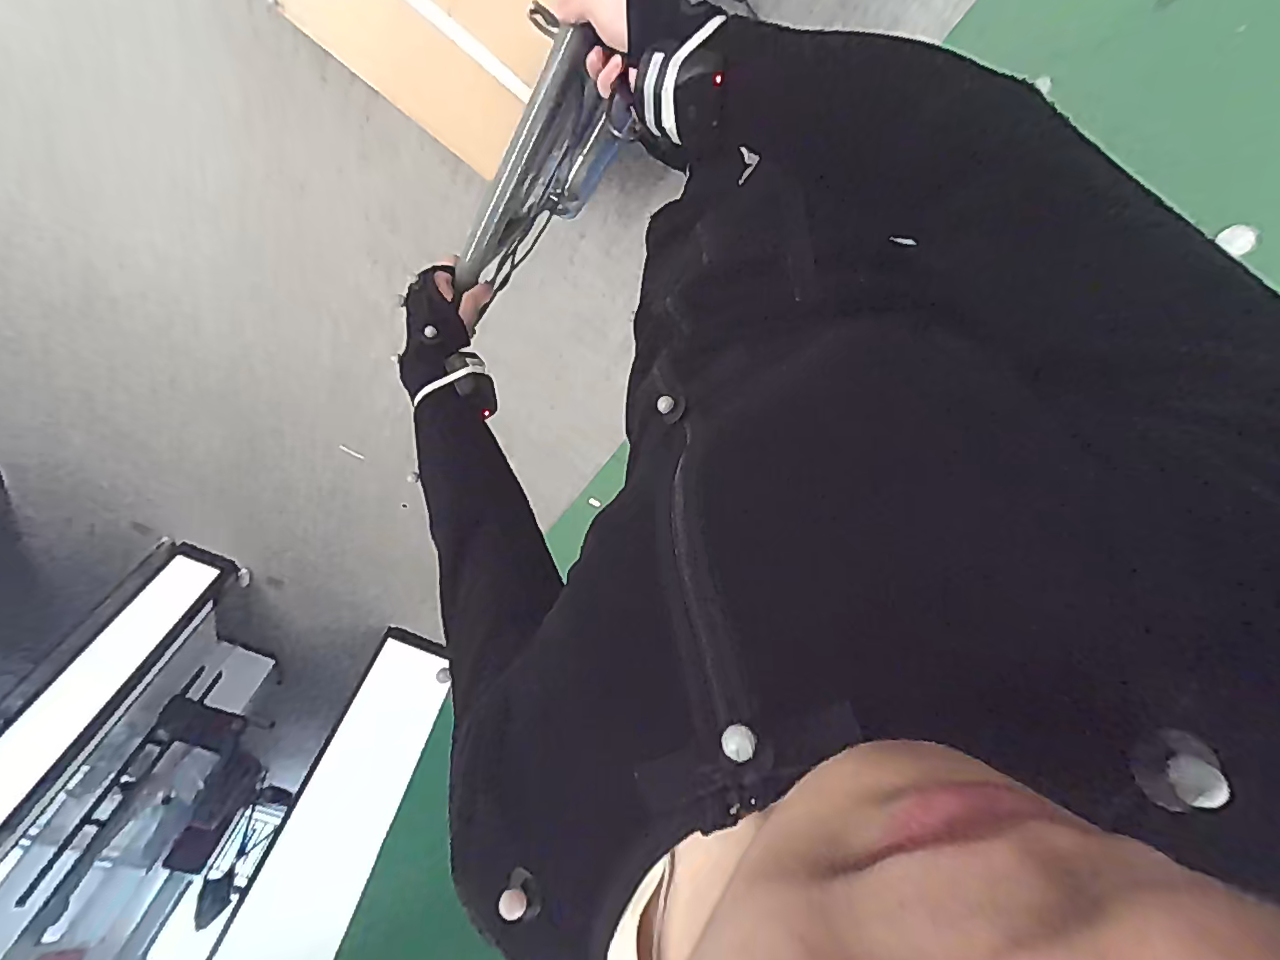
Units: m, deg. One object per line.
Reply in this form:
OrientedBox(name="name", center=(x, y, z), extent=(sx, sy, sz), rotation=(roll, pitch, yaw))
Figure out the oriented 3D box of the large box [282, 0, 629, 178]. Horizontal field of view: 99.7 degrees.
OrientedBox(name="large box", center=(-0.281, -0.806, 0.901), extent=(0.408, 0.320, 0.320), rotation=(35, 131, -17))
